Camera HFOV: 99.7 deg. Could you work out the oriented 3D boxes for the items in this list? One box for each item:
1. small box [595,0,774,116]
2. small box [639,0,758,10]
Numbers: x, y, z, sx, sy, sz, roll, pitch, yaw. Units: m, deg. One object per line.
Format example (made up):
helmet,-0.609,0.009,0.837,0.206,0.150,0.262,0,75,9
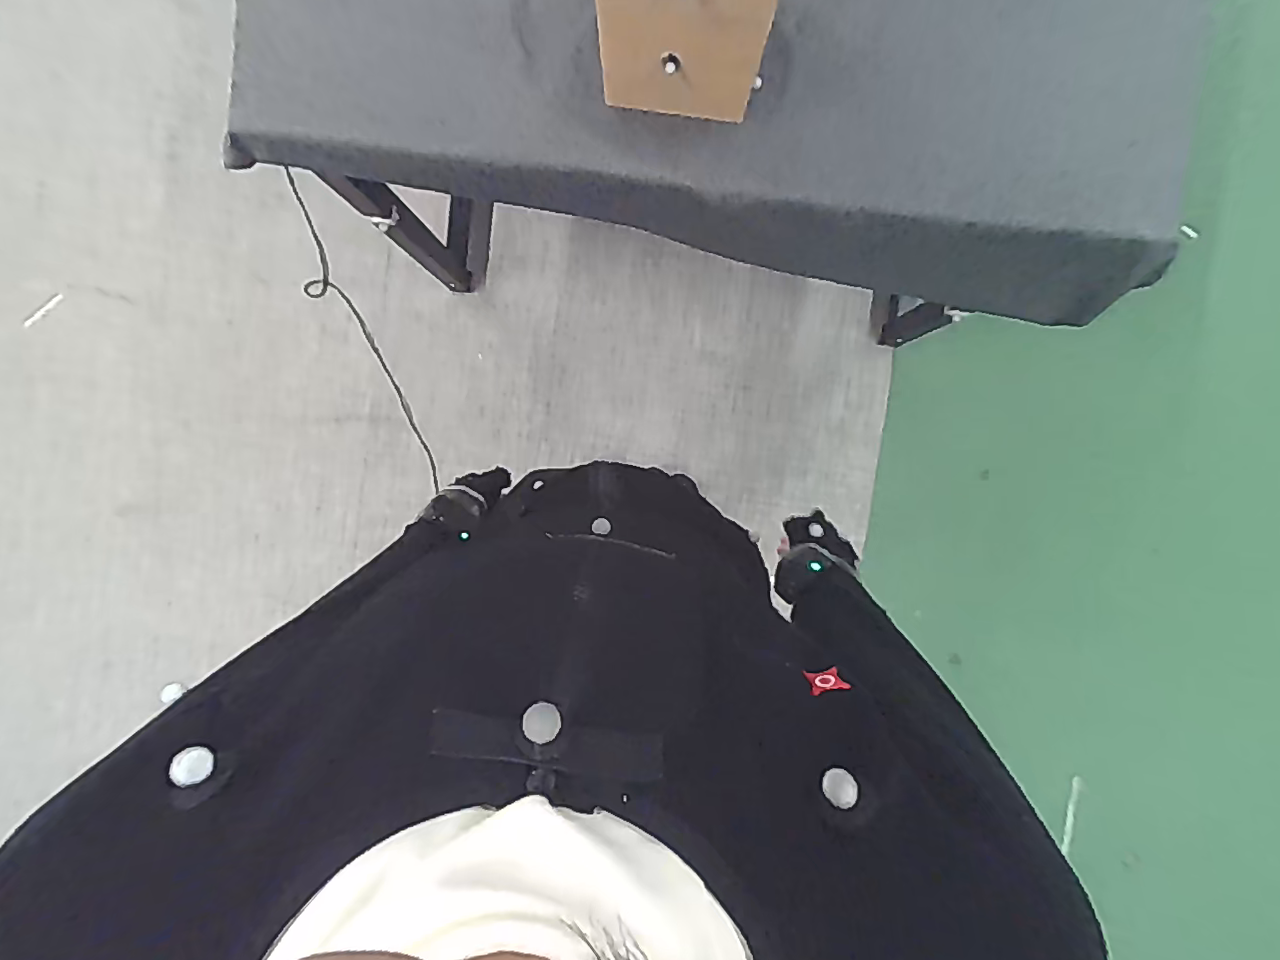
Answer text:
small box,0.053,-0.542,0.599,0.179,0.176,0.168,8,92,1
small box,0.051,-0.532,0.438,0.179,0.176,0.168,6,94,1
